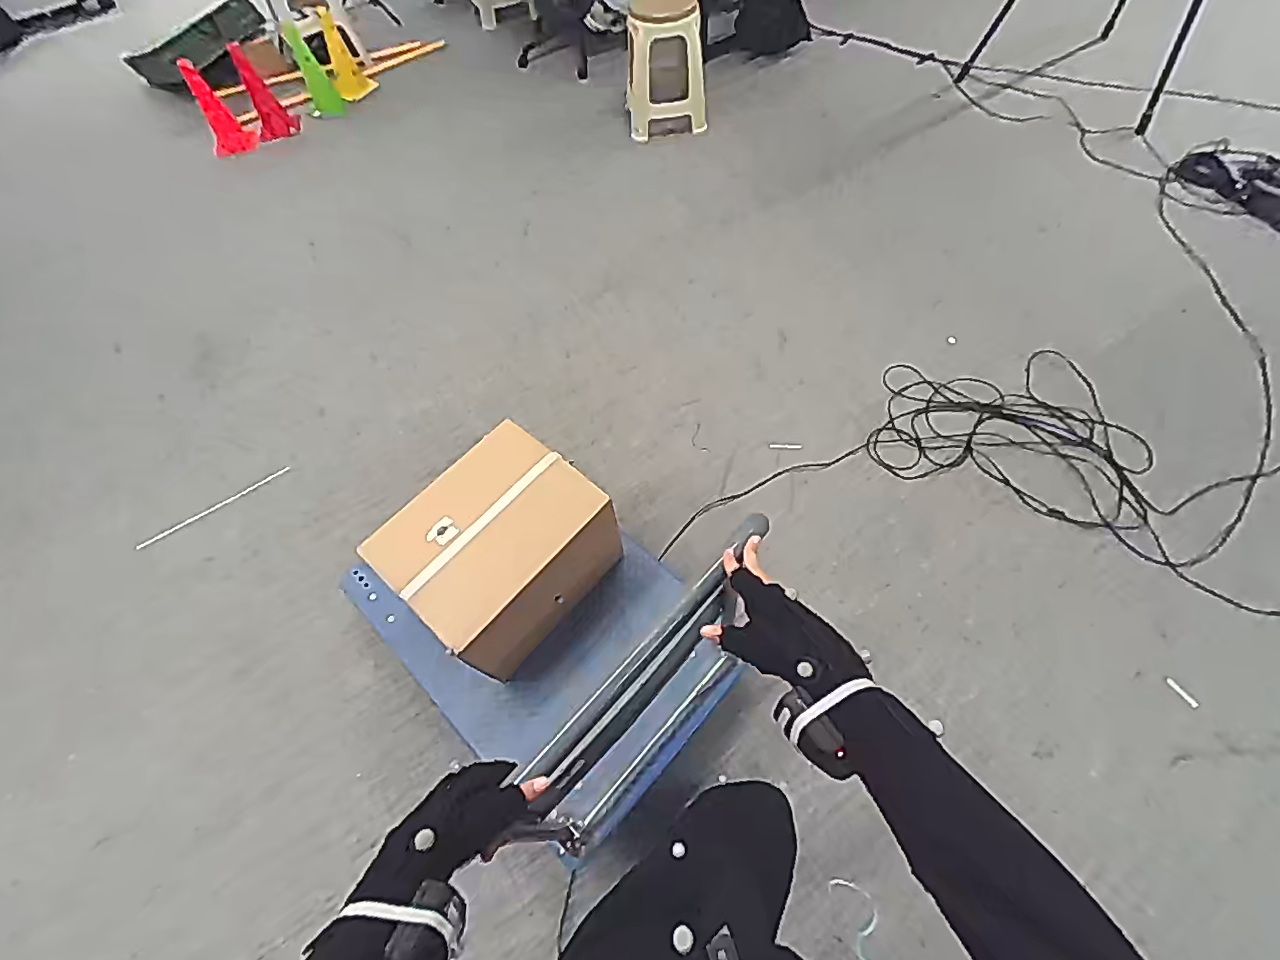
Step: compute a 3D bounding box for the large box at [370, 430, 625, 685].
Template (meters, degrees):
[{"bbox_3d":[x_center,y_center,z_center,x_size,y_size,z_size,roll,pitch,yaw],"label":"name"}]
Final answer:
[{"bbox_3d":[-0.280,0.176,1.197,0.320,0.320,0.408,35,69,21],"label":"large box"}]
